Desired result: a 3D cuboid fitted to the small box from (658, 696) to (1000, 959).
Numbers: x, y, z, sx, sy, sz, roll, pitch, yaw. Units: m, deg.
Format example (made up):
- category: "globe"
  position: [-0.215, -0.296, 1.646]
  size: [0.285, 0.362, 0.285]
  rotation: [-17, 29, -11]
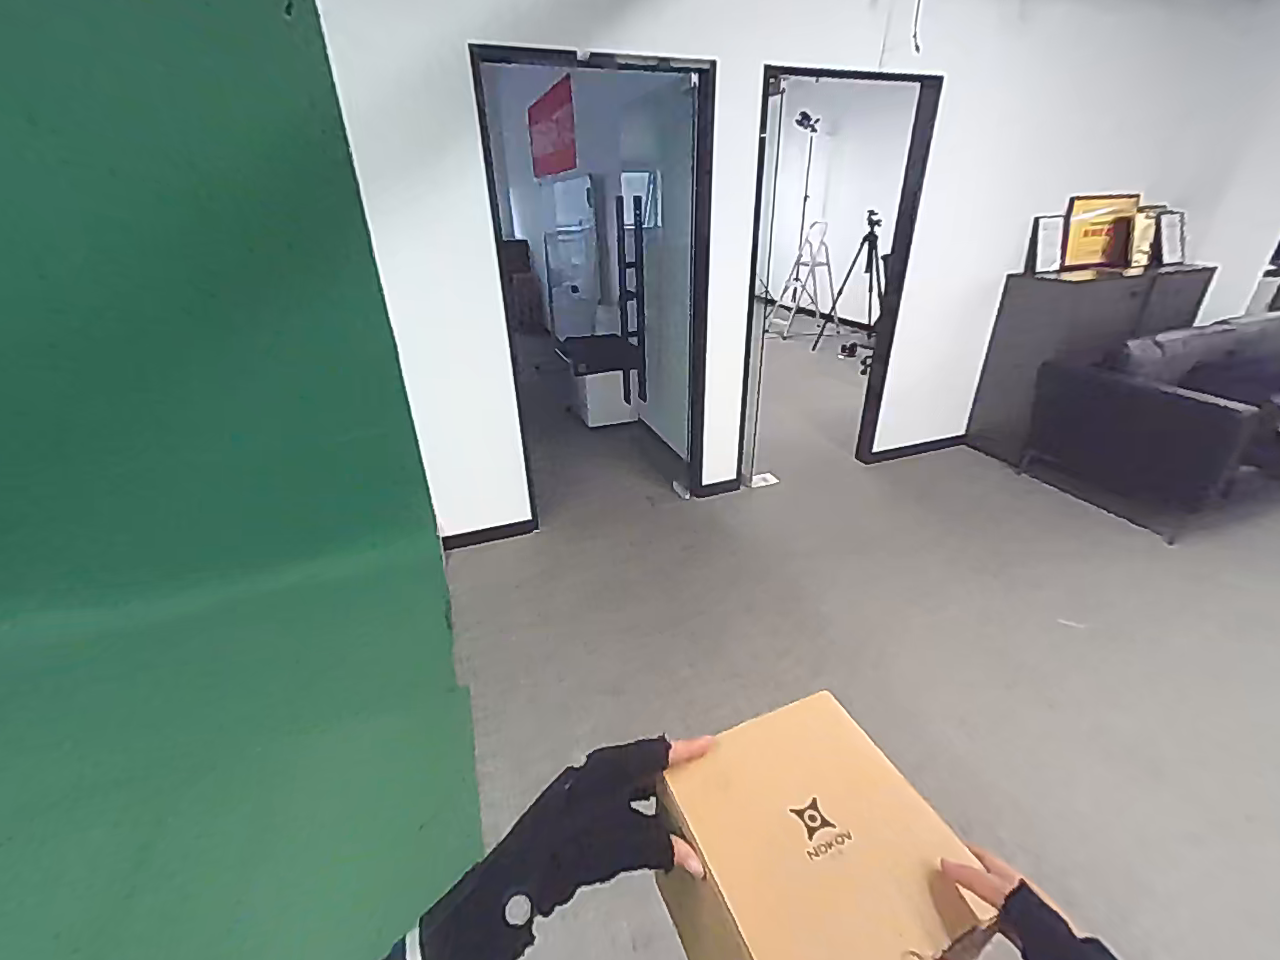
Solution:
- category: "small box"
  position: [0.119, 0.312, 0.420]
  size: [0.168, 0.176, 0.179]
  rotation: [-11, 32, -20]
